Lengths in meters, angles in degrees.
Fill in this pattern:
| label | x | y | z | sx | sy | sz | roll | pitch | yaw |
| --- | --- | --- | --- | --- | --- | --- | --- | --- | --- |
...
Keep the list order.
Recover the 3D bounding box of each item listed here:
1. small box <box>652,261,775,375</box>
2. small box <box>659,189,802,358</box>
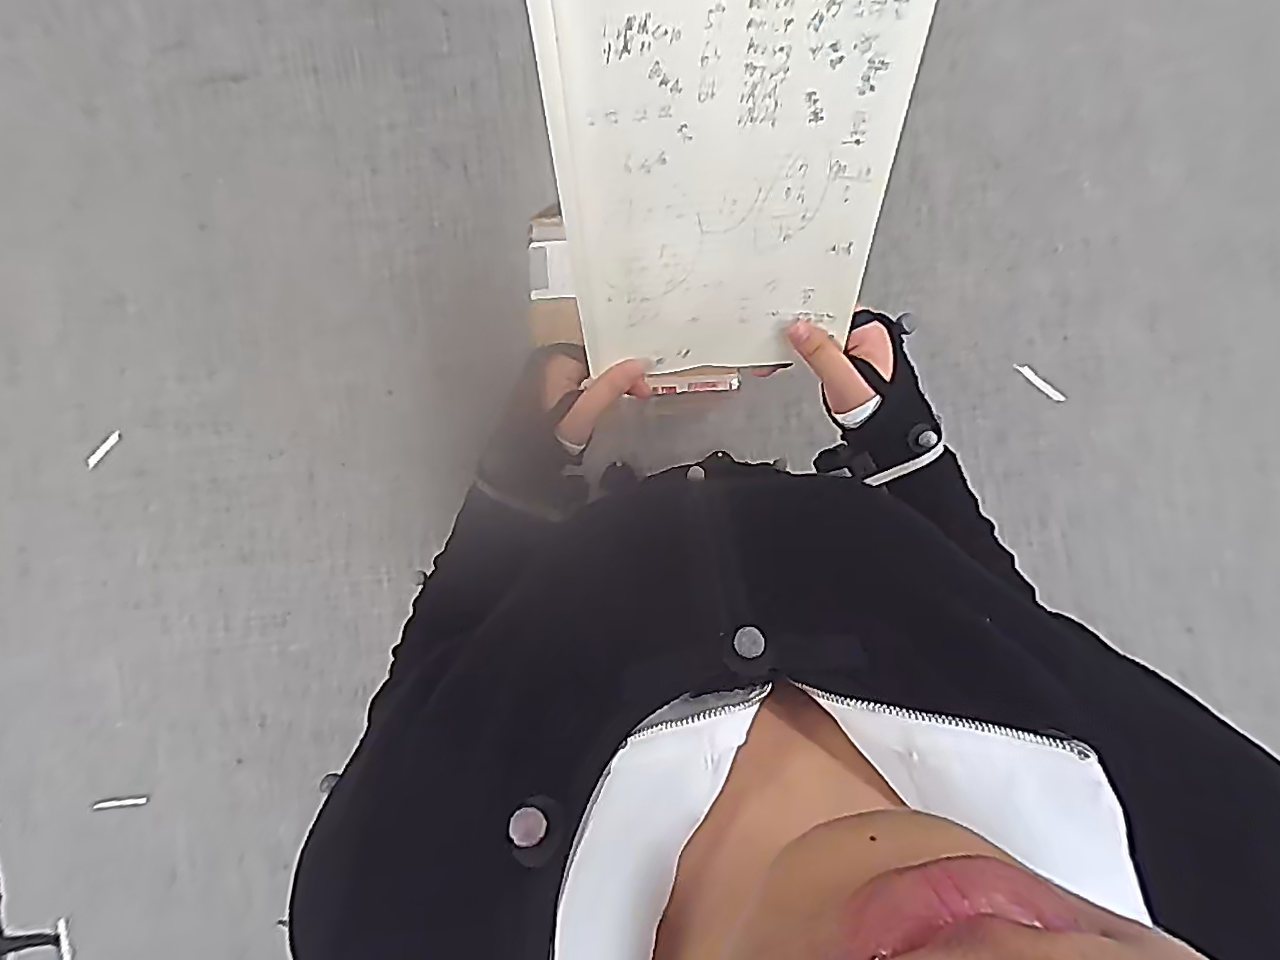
| label | x | y | z | sx | sy | sz | roll | pitch | yaw |
| --- | --- | --- | --- | --- | --- | --- | --- | --- | --- |
| small box | 0.120 | -0.284 | 0.942 | 0.179 | 0.176 | 0.168 | -8 | 93 | 0 |
| small box | 0.119 | -0.285 | 0.778 | 0.168 | 0.176 | 0.179 | -6 | 92 | -1 |
